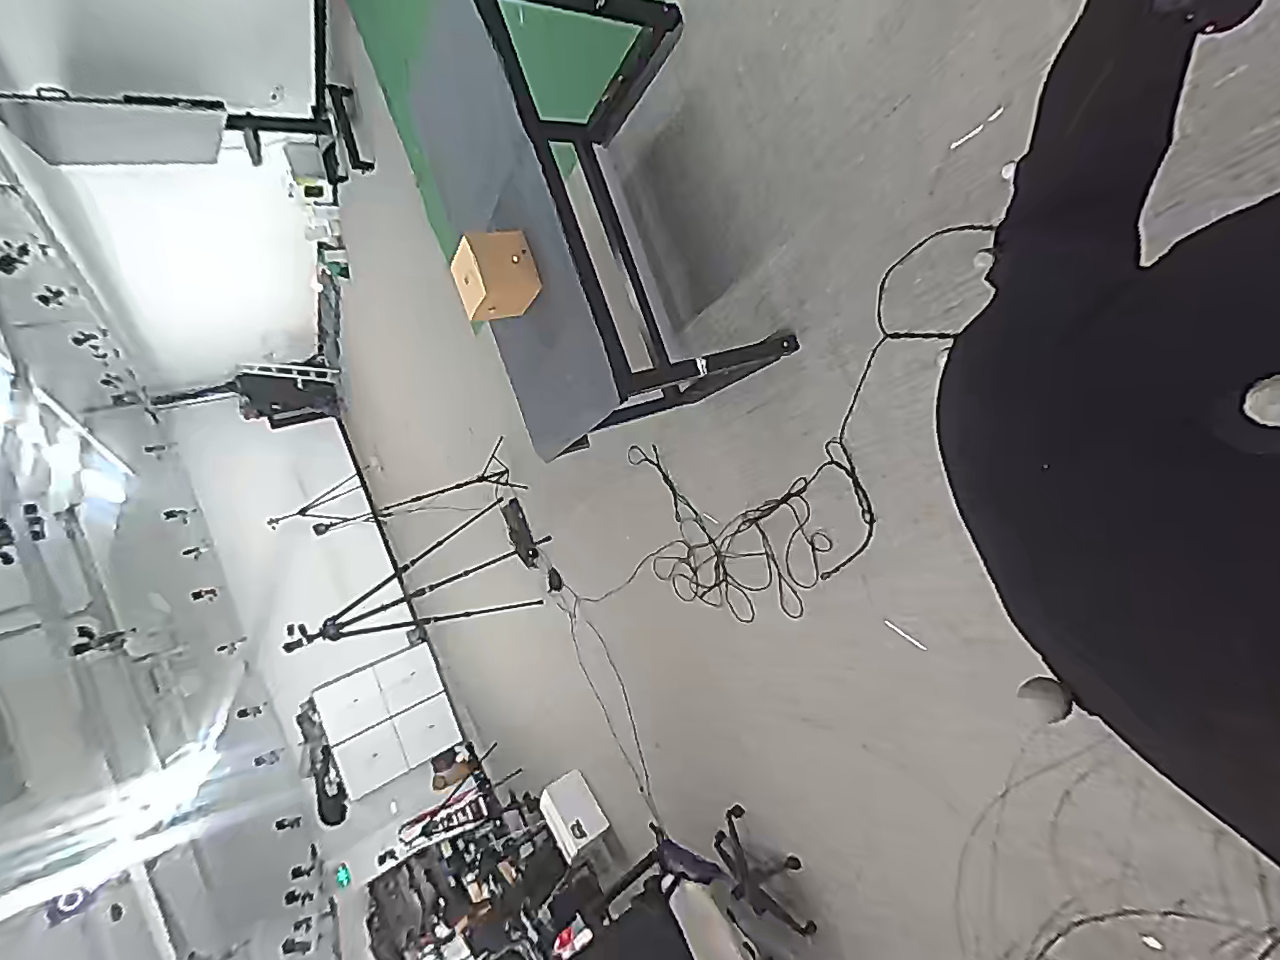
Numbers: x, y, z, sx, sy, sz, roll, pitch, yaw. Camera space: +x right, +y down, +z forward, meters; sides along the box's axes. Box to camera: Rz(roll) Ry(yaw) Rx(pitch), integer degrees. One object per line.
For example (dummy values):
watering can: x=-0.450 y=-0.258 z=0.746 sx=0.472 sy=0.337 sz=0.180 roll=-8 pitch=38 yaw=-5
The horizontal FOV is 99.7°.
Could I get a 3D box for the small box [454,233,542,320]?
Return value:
small box: x=-0.396 y=-0.568 z=1.511 sx=0.179 sy=0.176 sz=0.168 roll=-20 pitch=90 yaw=57
